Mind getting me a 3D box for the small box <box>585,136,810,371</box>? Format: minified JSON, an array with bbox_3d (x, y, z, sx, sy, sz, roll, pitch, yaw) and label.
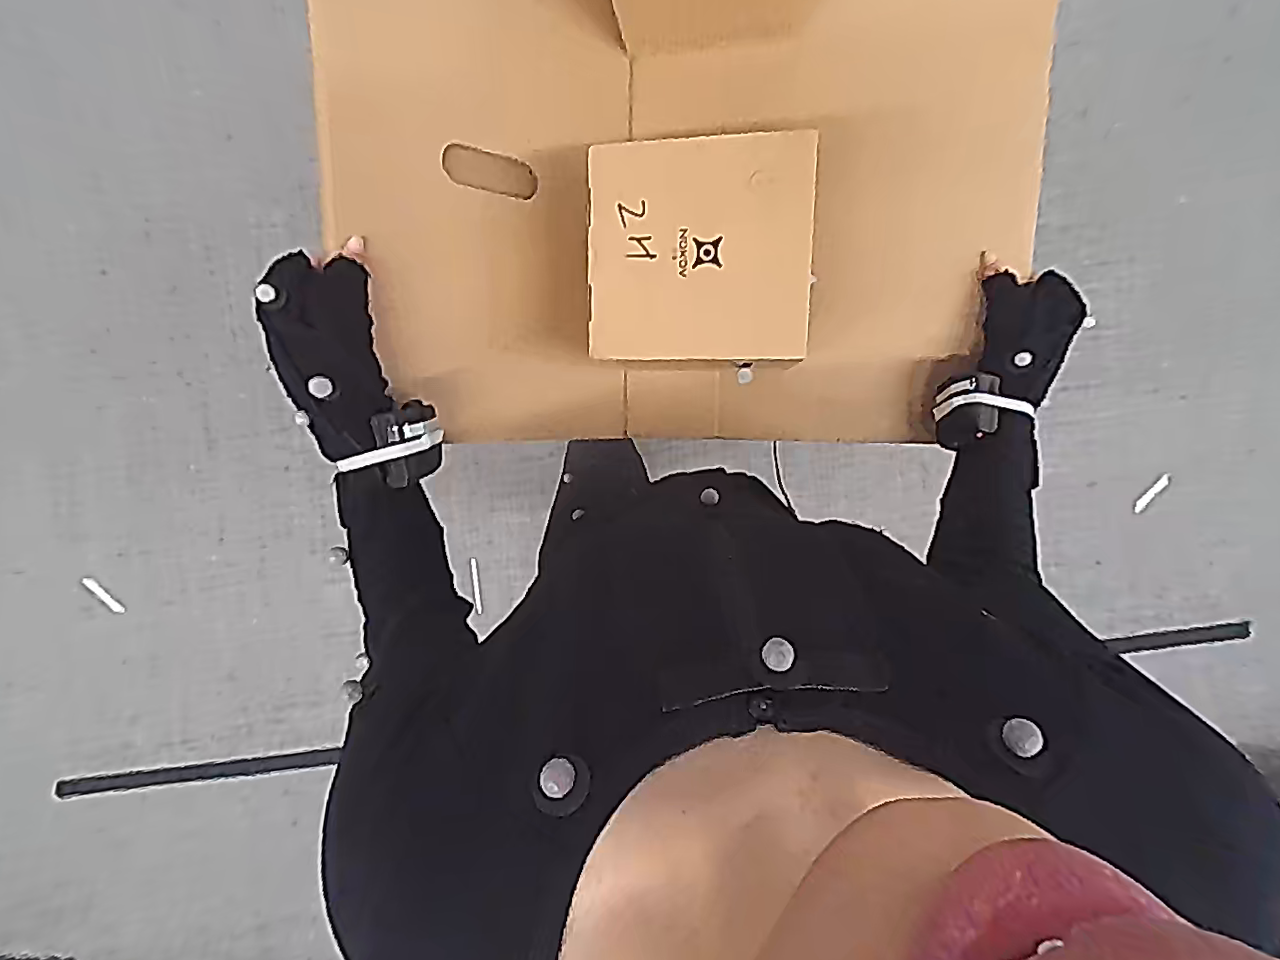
[{"bbox_3d":[0.053,-0.193,0.508,0.179,0.176,0.168,2,98,9],"label":"small box"}]
